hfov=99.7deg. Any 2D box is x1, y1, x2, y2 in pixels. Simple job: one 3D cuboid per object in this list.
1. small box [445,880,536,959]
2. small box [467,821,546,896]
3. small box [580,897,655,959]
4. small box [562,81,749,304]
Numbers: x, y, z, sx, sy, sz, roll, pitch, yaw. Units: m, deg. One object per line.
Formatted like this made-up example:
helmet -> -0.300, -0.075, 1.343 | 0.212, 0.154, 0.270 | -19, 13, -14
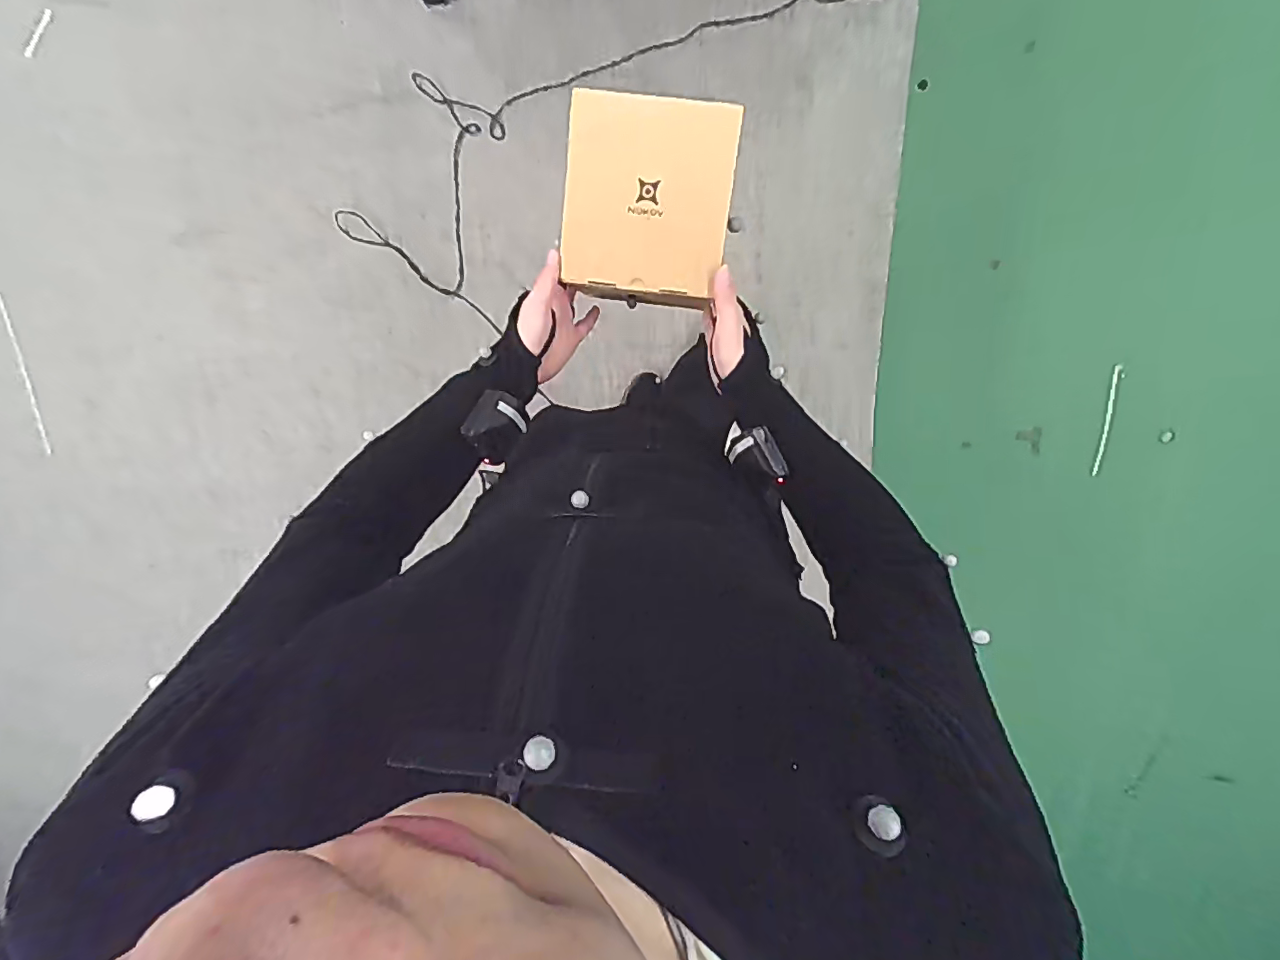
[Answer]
small box -> -0.342, 1.072, 1.238 | 0.168, 0.176, 0.179 | 10, 105, -2
small box -> -0.345, 1.030, 1.395 | 0.168, 0.176, 0.179 | 11, 105, -2
small box -> -0.053, 1.111, 1.242 | 0.168, 0.176, 0.179 | 4, 105, -1
small box -> 0.014, -0.299, 0.600 | 0.168, 0.176, 0.179 | 7, 106, 1
